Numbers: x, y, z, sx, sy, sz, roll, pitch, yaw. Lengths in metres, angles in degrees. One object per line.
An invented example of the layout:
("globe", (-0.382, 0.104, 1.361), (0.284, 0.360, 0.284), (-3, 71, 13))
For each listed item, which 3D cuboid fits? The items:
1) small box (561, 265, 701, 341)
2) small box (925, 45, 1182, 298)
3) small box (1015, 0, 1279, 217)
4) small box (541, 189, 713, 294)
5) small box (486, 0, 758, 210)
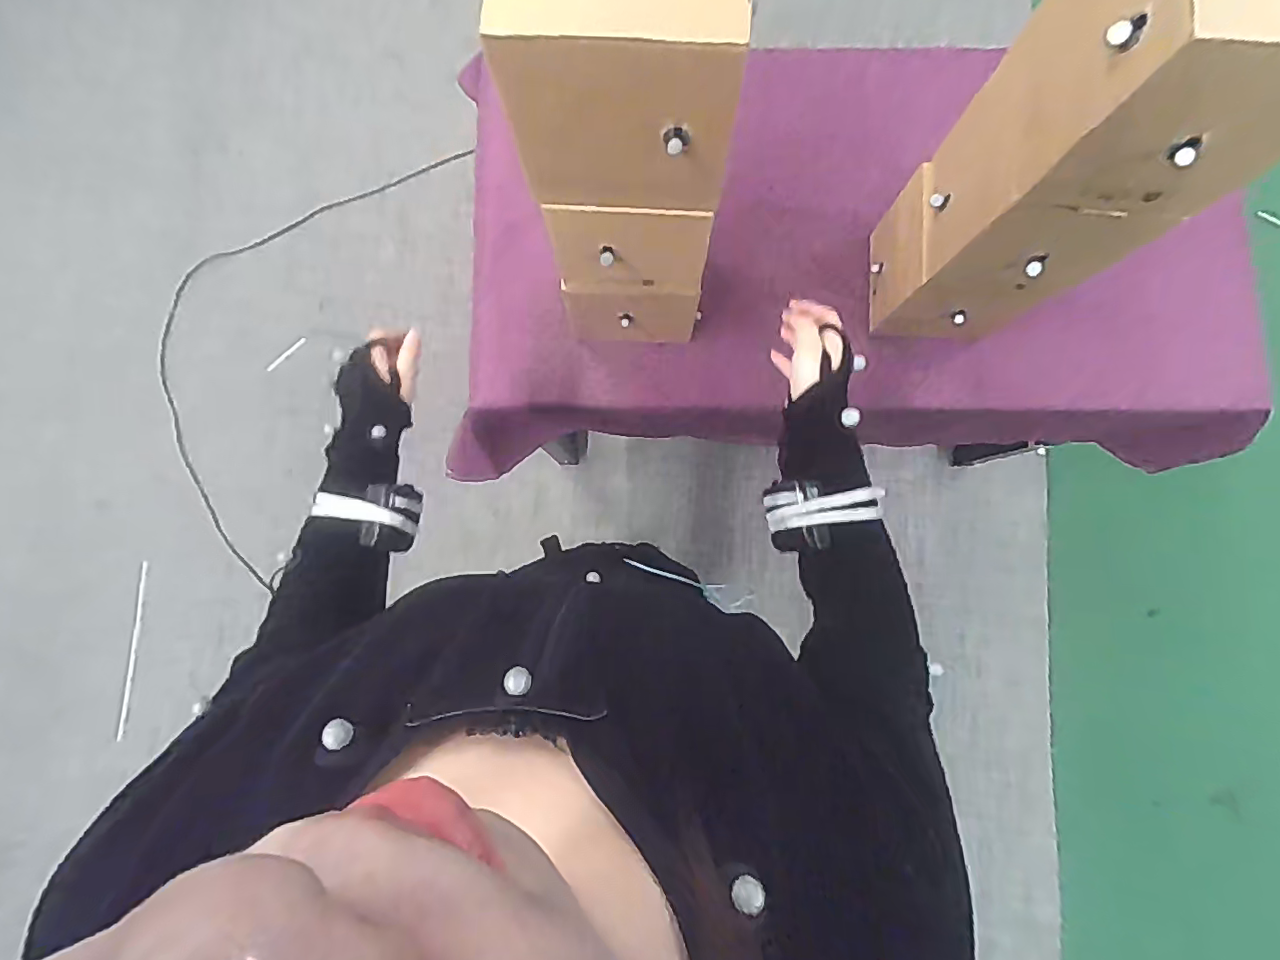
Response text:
("small box", (-0.009, -0.304, 0.760), (0.179, 0.176, 0.168), (2, 83, 1))
("small box", (0.438, -0.321, 0.596), (0.168, 0.176, 0.179), (7, 84, 1))
("small box", (0.435, -0.339, 0.431), (0.168, 0.176, 0.179), (6, 83, 1))
("small box", (-0.006, -0.325, 0.599), (0.168, 0.176, 0.179), (4, 82, 0))
("small box", (-0.007, -0.346, 0.437), (0.179, 0.176, 0.168), (4, 81, 1))
